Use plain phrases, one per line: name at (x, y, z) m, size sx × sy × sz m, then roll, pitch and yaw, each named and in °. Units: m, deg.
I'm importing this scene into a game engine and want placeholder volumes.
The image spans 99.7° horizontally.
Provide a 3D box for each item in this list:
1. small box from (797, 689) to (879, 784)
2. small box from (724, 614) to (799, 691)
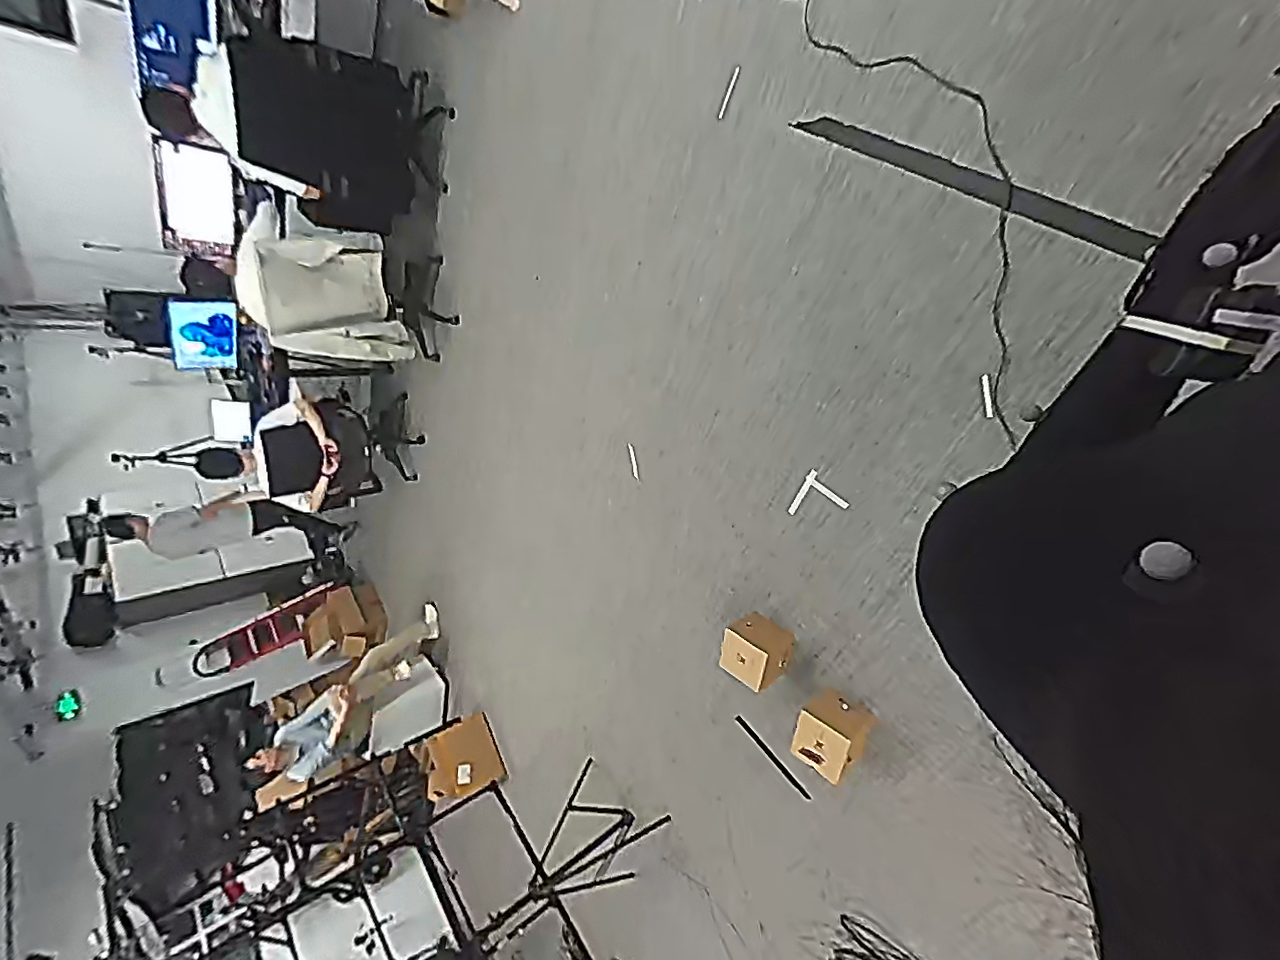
small box at (0.623, 0.797, 1.696) m, size 0.168 × 0.176 × 0.179 m, roll 25°, pitch 116°, yaw 41°
small box at (0.420, 0.586, 1.870) m, size 0.179 × 0.176 × 0.168 m, roll 25°, pitch 118°, yaw 41°
